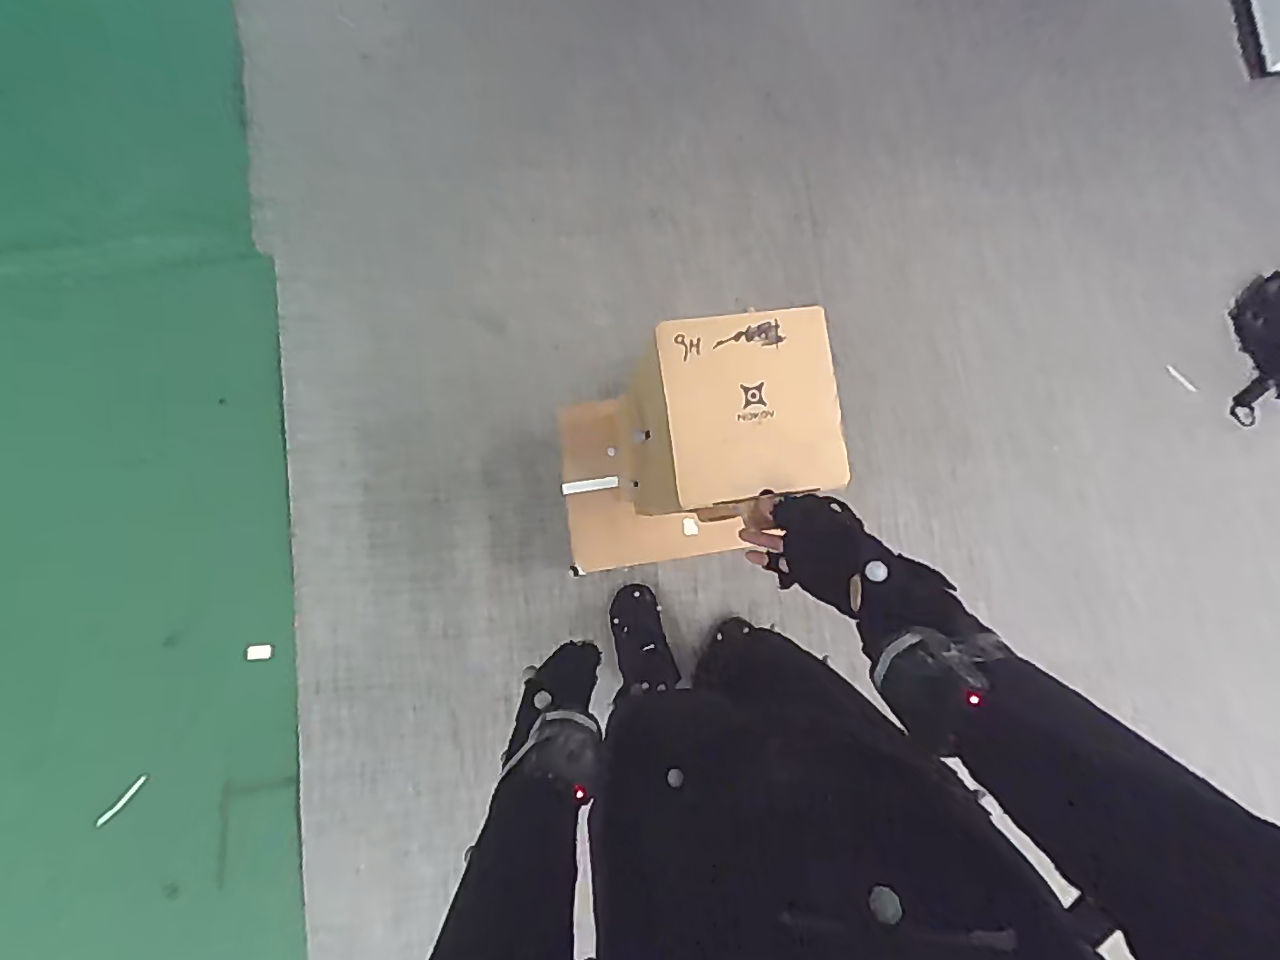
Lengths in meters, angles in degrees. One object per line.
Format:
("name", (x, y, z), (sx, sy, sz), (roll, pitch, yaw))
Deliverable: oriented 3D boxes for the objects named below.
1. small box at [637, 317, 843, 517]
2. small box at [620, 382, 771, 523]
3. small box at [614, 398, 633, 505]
("small box", (0.094, -0.059, 0.586), (0.168, 0.176, 0.179), (-7, 88, -7))
("small box", (0.070, -0.039, 0.747), (0.168, 0.176, 0.179), (-8, 87, -8))
("small box", (0.050, -0.043, 0.906), (0.179, 0.176, 0.168), (-1, 85, -6))
